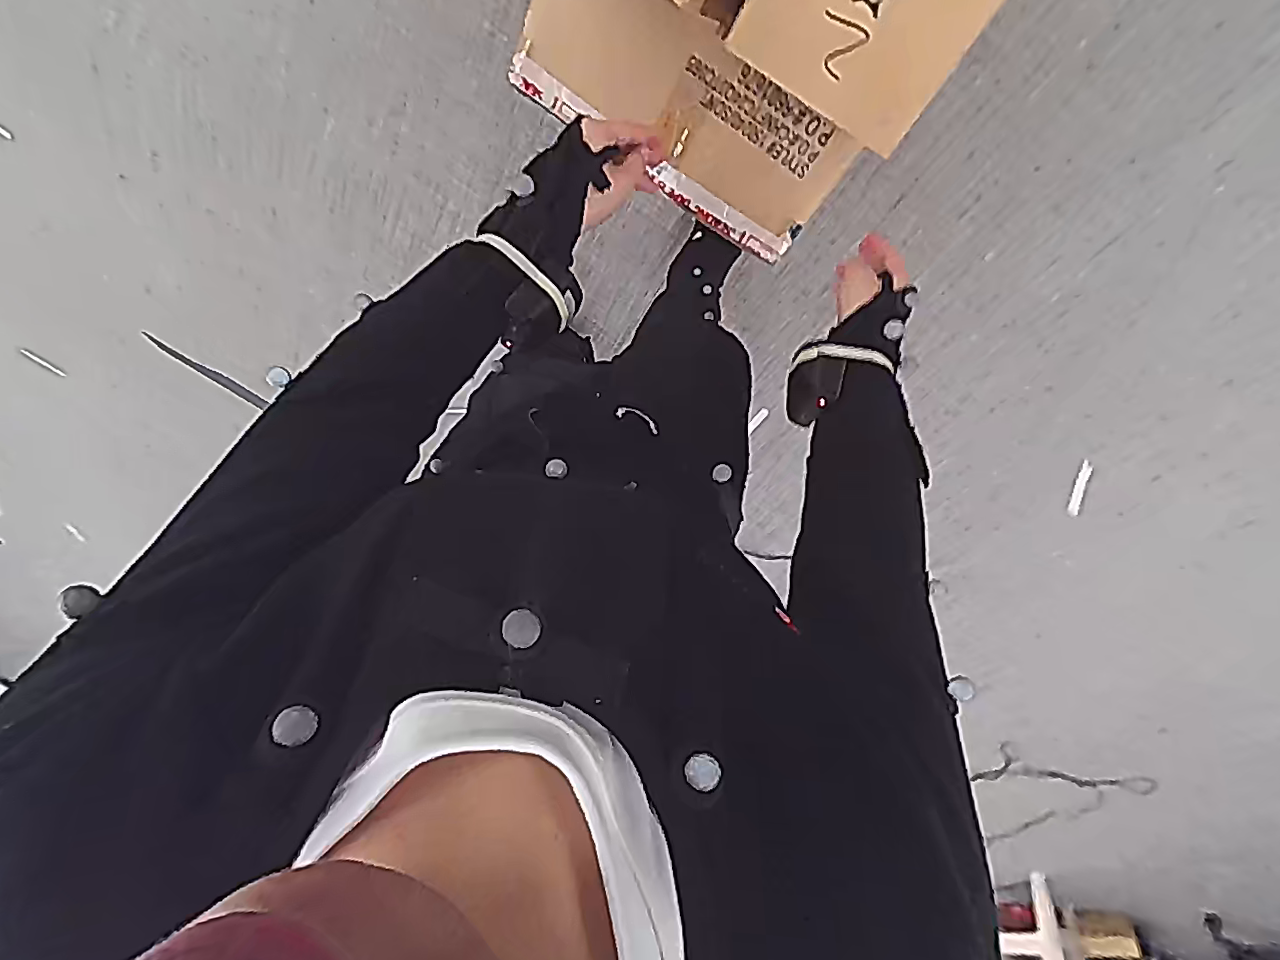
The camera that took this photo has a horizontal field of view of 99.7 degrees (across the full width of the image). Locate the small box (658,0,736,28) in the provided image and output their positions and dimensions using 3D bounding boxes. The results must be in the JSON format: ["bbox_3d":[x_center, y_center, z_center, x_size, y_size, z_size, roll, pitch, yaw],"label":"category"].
[{"bbox_3d":[0.025,-0.512,0.437,0.179,0.176,0.168,32,129,-6],"label":"small box"}]
